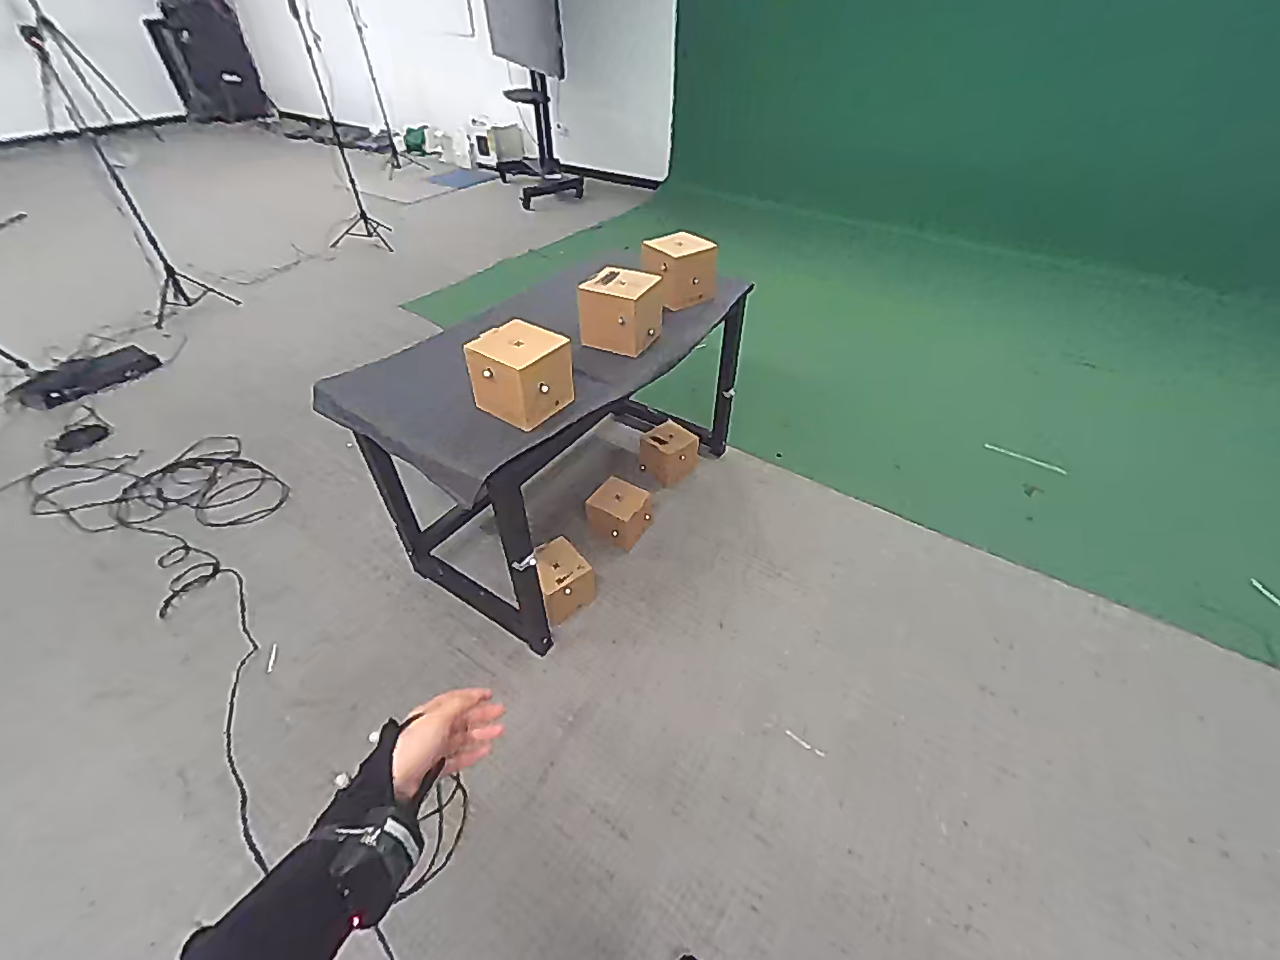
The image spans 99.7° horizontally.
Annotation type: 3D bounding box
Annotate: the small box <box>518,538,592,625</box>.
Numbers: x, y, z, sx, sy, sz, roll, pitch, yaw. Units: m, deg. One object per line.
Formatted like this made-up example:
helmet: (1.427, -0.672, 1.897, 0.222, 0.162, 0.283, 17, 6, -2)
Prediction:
small box: (-0.267, 0.324, 1.716, 0.168, 0.176, 0.179, -28, 50, -27)

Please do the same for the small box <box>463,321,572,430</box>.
small box: (-0.273, -0.238, 1.251, 0.179, 0.176, 0.168, 26, 49, 25)

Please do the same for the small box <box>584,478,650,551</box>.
small box: (-0.079, 0.129, 1.929, 0.179, 0.176, 0.168, 23, 47, 23)

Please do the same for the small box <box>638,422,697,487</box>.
small box: (0.110, -0.101, 2.178, 0.179, 0.176, 0.168, -31, 52, -31)

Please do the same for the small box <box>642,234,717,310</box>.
small box: (0.122, -0.648, 1.693, 0.168, 0.176, 0.179, -25, 46, -25)
